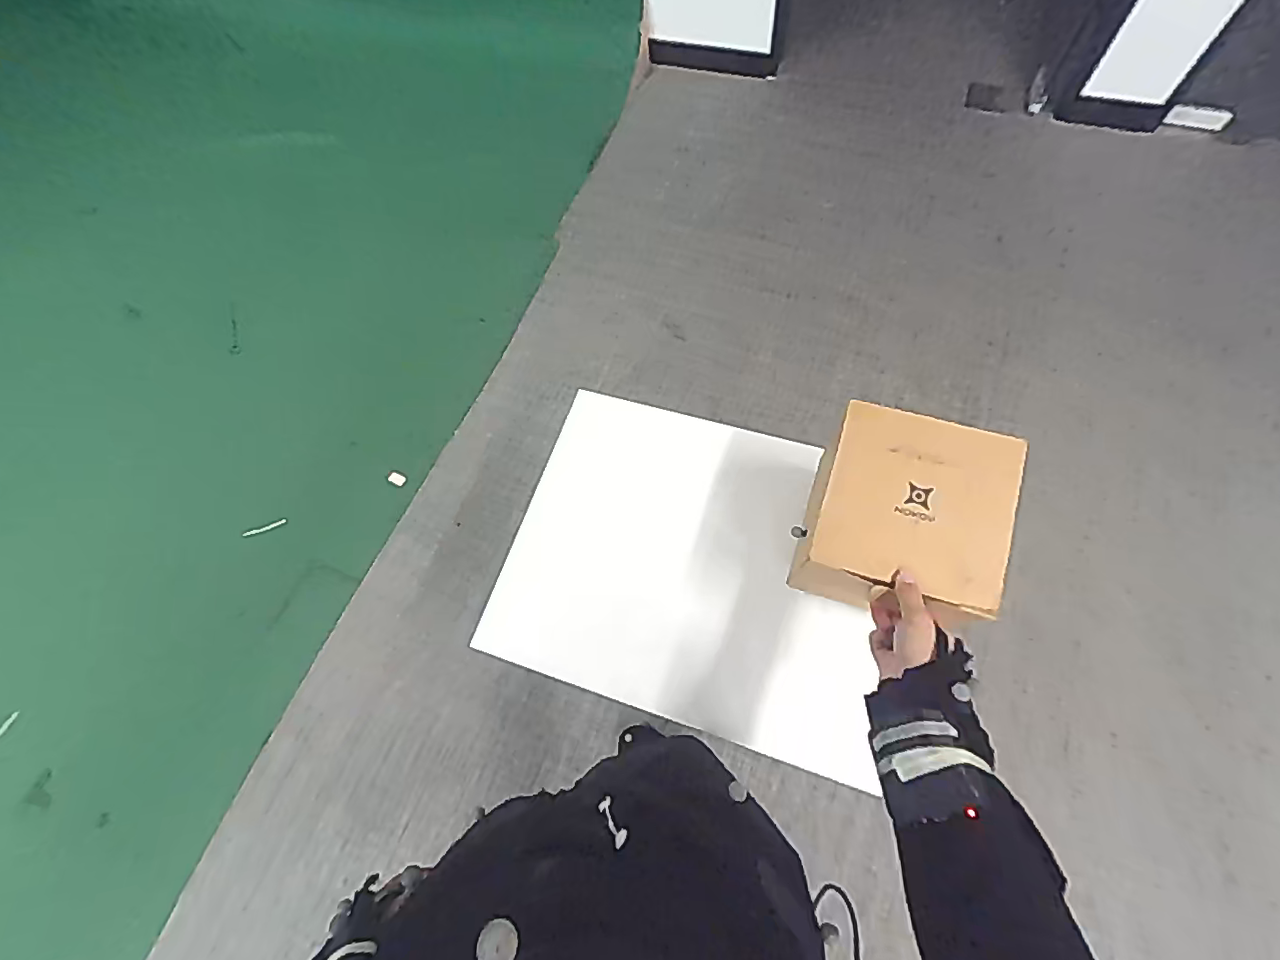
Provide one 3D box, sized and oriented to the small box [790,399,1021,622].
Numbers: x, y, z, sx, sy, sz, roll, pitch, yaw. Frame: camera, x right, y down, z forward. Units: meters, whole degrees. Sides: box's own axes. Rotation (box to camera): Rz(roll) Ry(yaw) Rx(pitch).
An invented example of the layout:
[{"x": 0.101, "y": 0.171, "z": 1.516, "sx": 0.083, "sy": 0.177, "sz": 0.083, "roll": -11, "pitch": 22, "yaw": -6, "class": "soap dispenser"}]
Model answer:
[{"x": 0.265, "y": 0.043, "z": 0.579, "sx": 0.168, "sy": 0.176, "sz": 0.179, "roll": 15, "pitch": 74, "yaw": 12, "class": "small box"}]
